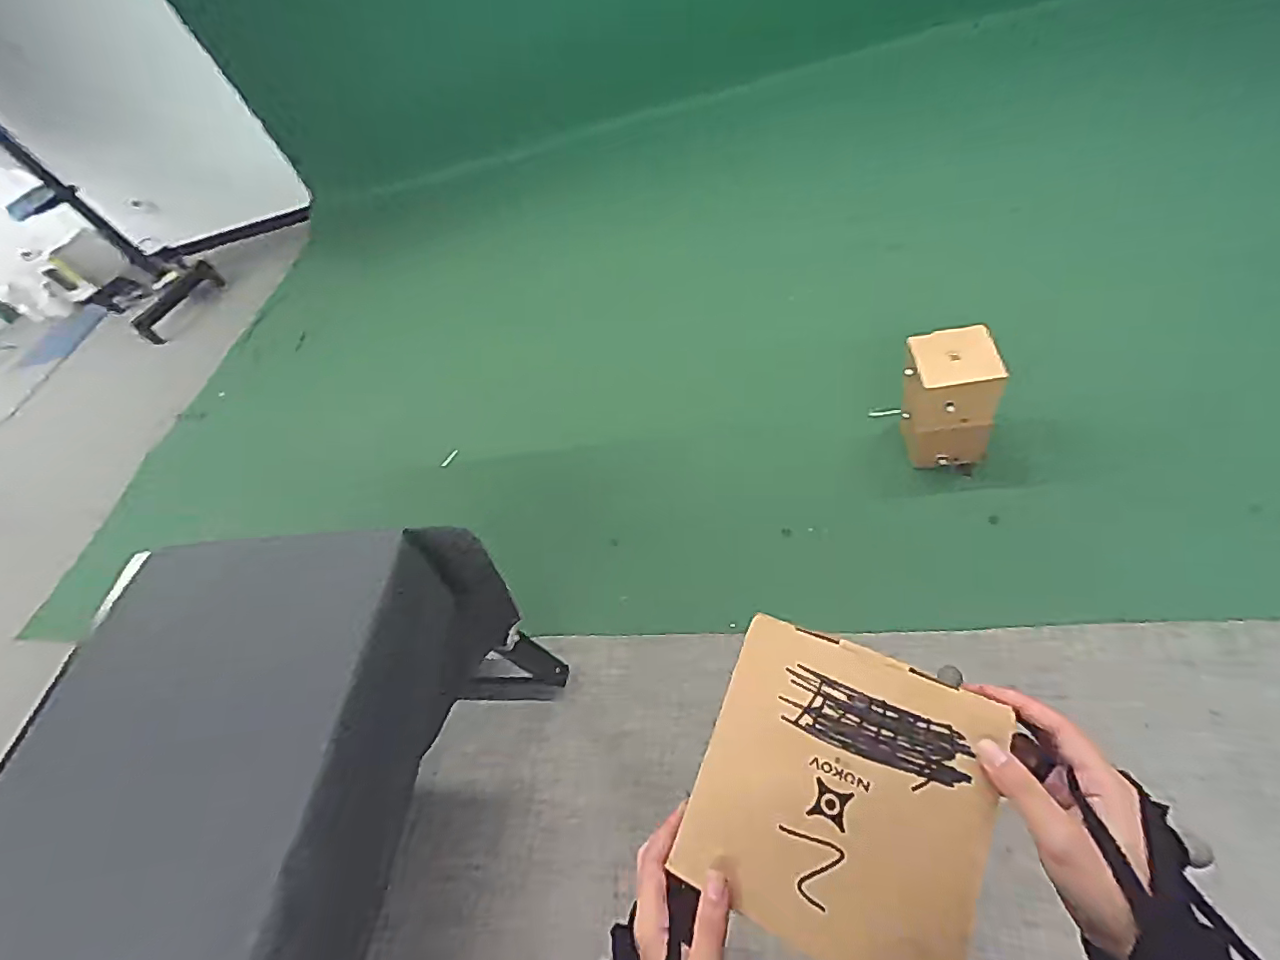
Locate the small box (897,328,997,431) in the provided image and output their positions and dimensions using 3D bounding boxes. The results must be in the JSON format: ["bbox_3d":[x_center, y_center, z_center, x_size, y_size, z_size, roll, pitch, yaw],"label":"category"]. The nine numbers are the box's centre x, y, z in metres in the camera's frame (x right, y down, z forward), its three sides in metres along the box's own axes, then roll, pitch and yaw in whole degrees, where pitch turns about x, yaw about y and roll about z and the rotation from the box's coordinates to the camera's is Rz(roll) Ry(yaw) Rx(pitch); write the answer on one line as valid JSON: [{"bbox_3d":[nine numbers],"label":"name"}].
[{"bbox_3d":[0.737,-0.235,1.315,0.168,0.176,0.179,-8,53,15],"label":"small box"}]

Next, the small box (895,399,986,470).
[{"bbox_3d":[0.791,-0.149,1.443,0.168,0.176,0.179,-7,55,16],"label":"small box"}]
